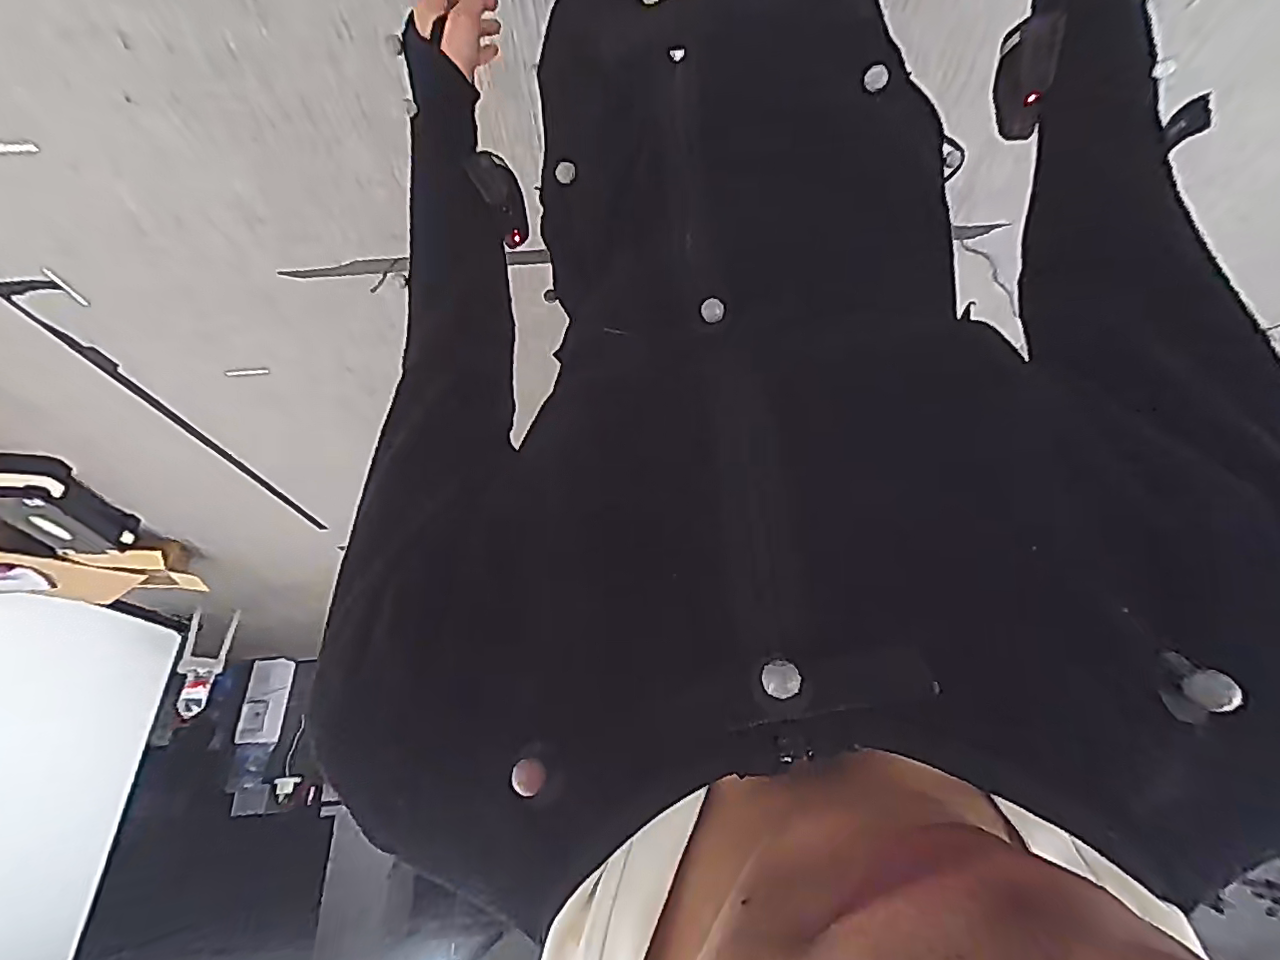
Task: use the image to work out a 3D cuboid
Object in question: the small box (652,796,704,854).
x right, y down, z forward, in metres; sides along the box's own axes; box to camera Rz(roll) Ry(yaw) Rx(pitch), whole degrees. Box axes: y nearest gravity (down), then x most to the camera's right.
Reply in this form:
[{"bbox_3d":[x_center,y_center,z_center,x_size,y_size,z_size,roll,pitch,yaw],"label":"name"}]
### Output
[{"bbox_3d":[0.136,1.289,2.026,0.179,0.176,0.168,-3,151,-2],"label":"small box"}]
